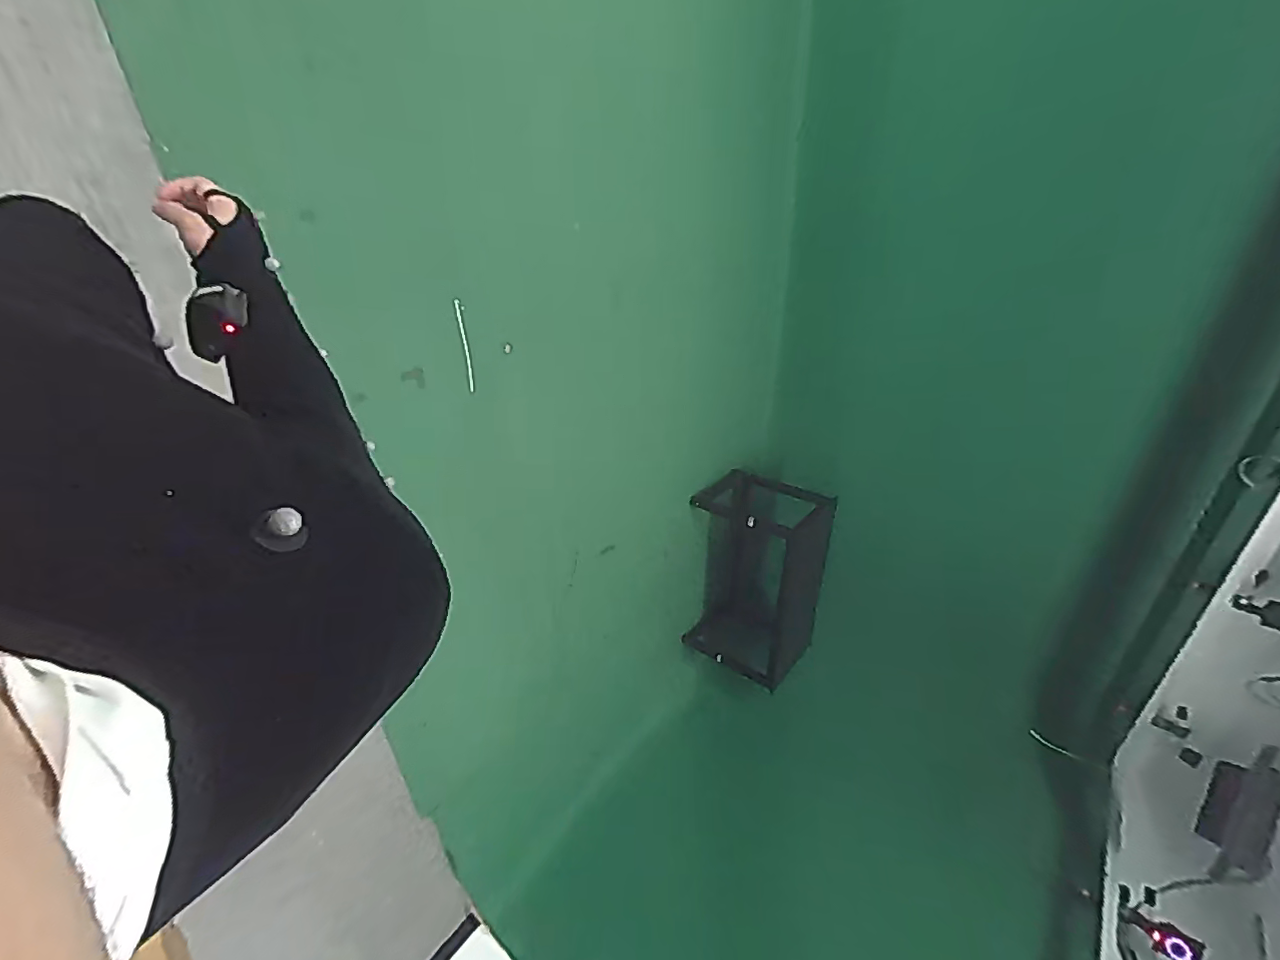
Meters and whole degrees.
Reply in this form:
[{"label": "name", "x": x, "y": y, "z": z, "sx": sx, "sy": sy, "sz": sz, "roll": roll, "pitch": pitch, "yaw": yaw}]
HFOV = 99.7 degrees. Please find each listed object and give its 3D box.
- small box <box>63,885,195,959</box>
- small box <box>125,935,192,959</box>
[{"label": "small box", "x": -1.253, "y": 1.148, "z": 1.325, "sx": 0.168, "sy": 0.176, "sz": 0.179, "roll": -35, "pitch": 134, "yaw": -40}, {"label": "small box", "x": -1.130, "y": 1.198, "z": 1.232, "sx": 0.168, "sy": 0.176, "sz": 0.179, "roll": -35, "pitch": 134, "yaw": -40}]
